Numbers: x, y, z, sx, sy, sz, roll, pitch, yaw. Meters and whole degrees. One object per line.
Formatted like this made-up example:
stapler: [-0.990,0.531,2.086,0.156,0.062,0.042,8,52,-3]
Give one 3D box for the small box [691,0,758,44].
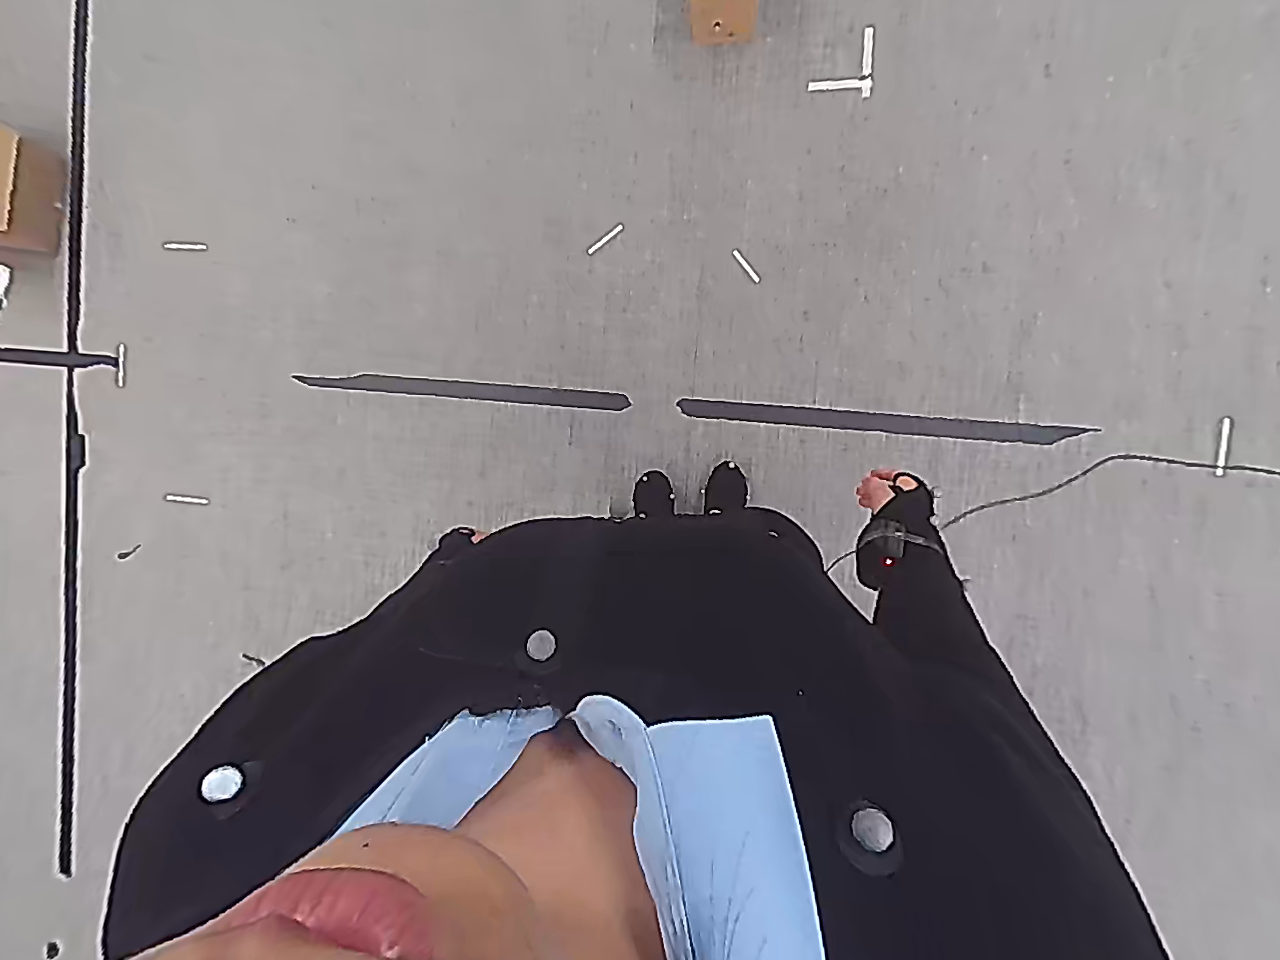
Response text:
small box: [0.214,-1.250,1.359,0.168,0.176,0.179,3,93,8]
